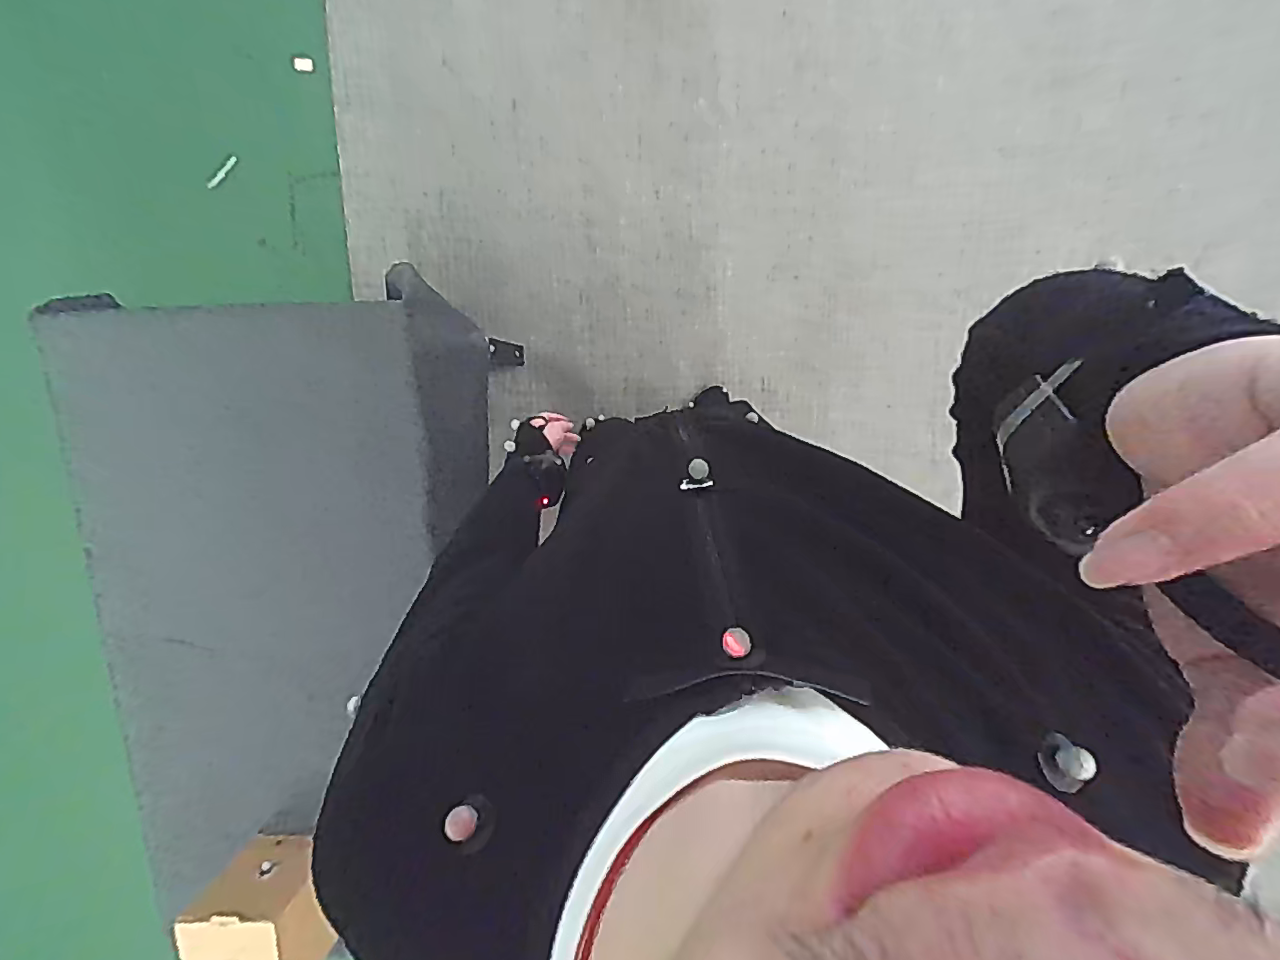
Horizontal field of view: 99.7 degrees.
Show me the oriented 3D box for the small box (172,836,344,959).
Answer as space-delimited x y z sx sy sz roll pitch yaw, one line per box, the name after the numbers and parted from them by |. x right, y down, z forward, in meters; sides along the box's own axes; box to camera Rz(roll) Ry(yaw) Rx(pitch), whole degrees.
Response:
-0.639 0.747 0.926 0.168 0.176 0.179 -1 98 4 | small box
